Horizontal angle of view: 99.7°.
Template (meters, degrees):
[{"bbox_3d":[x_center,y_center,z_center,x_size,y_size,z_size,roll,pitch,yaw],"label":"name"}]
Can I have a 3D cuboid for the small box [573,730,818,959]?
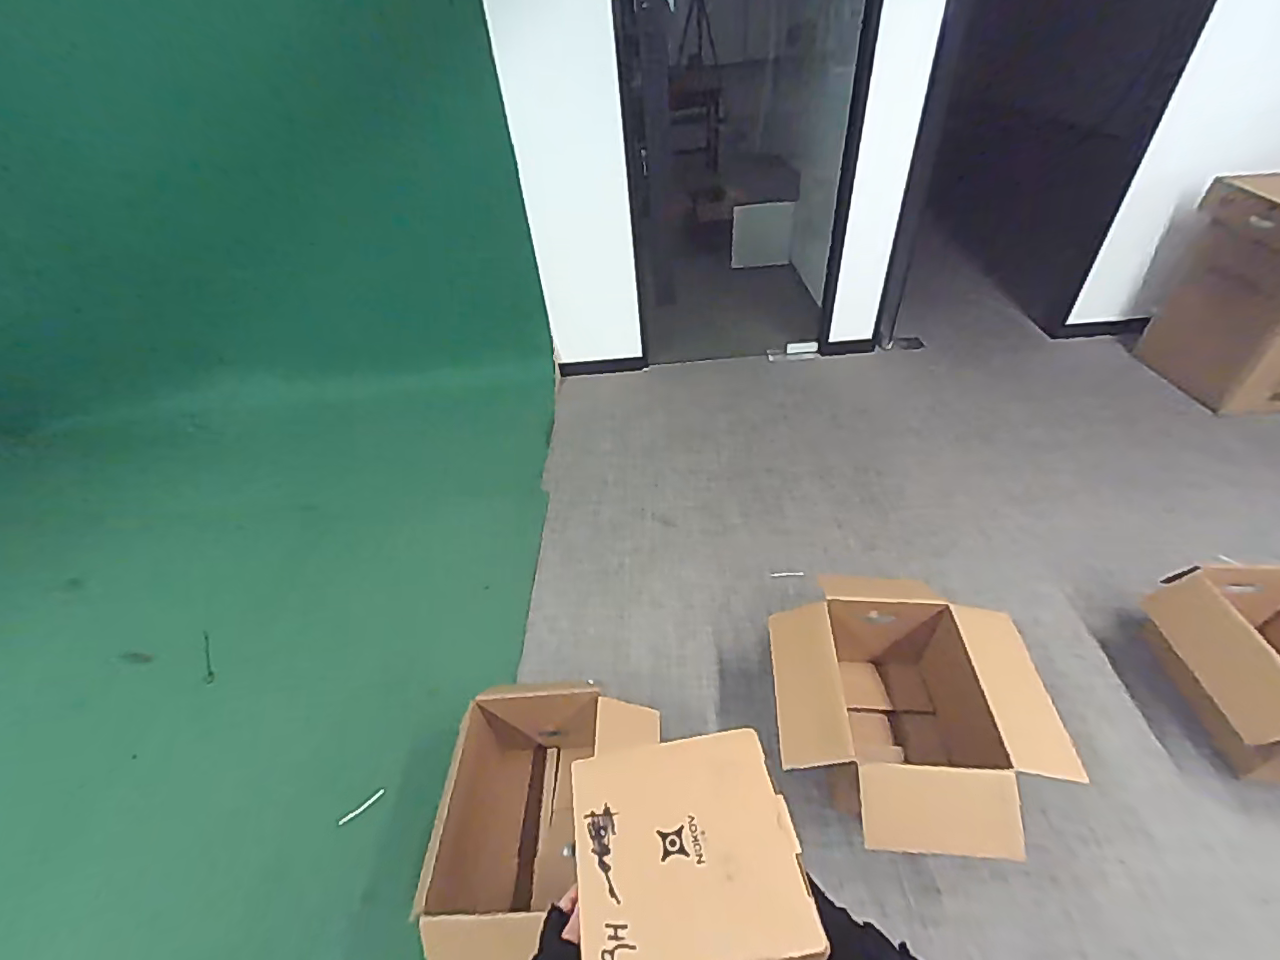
[{"bbox_3d":[0.035,0.357,0.489,0.179,0.176,0.168,-6,36,-5],"label":"small box"}]
